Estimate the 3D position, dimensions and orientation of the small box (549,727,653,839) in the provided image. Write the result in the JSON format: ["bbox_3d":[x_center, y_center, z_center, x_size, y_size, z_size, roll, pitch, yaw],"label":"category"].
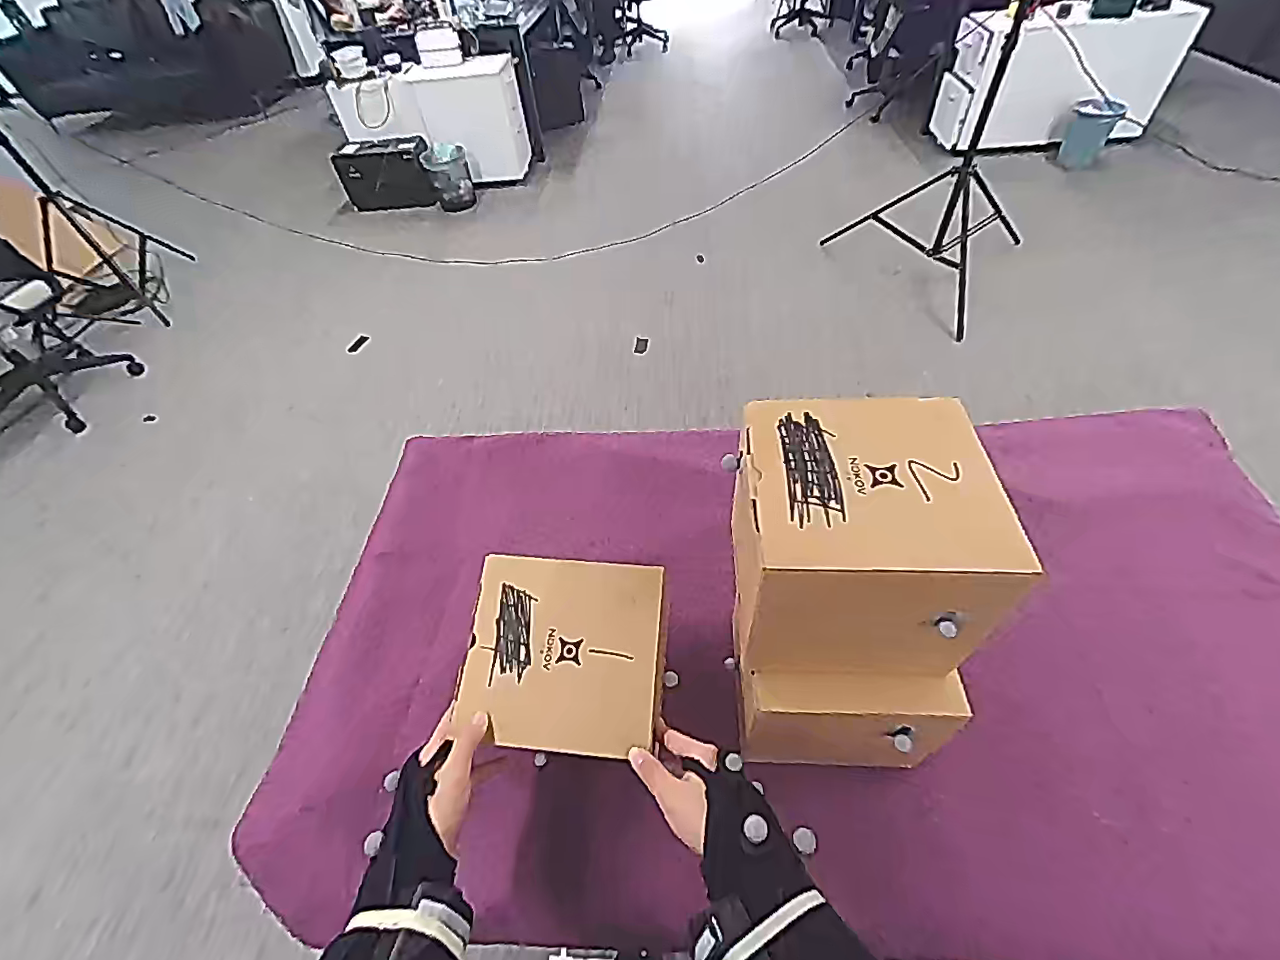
[{"bbox_3d":[-0.065,0.589,1.050,0.179,0.176,0.168,-1,52,4],"label":"small box"}]

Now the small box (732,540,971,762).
[{"bbox_3d":[0.192,0.178,0.556,0.179,0.176,0.168,0,48,5],"label":"small box"}]
